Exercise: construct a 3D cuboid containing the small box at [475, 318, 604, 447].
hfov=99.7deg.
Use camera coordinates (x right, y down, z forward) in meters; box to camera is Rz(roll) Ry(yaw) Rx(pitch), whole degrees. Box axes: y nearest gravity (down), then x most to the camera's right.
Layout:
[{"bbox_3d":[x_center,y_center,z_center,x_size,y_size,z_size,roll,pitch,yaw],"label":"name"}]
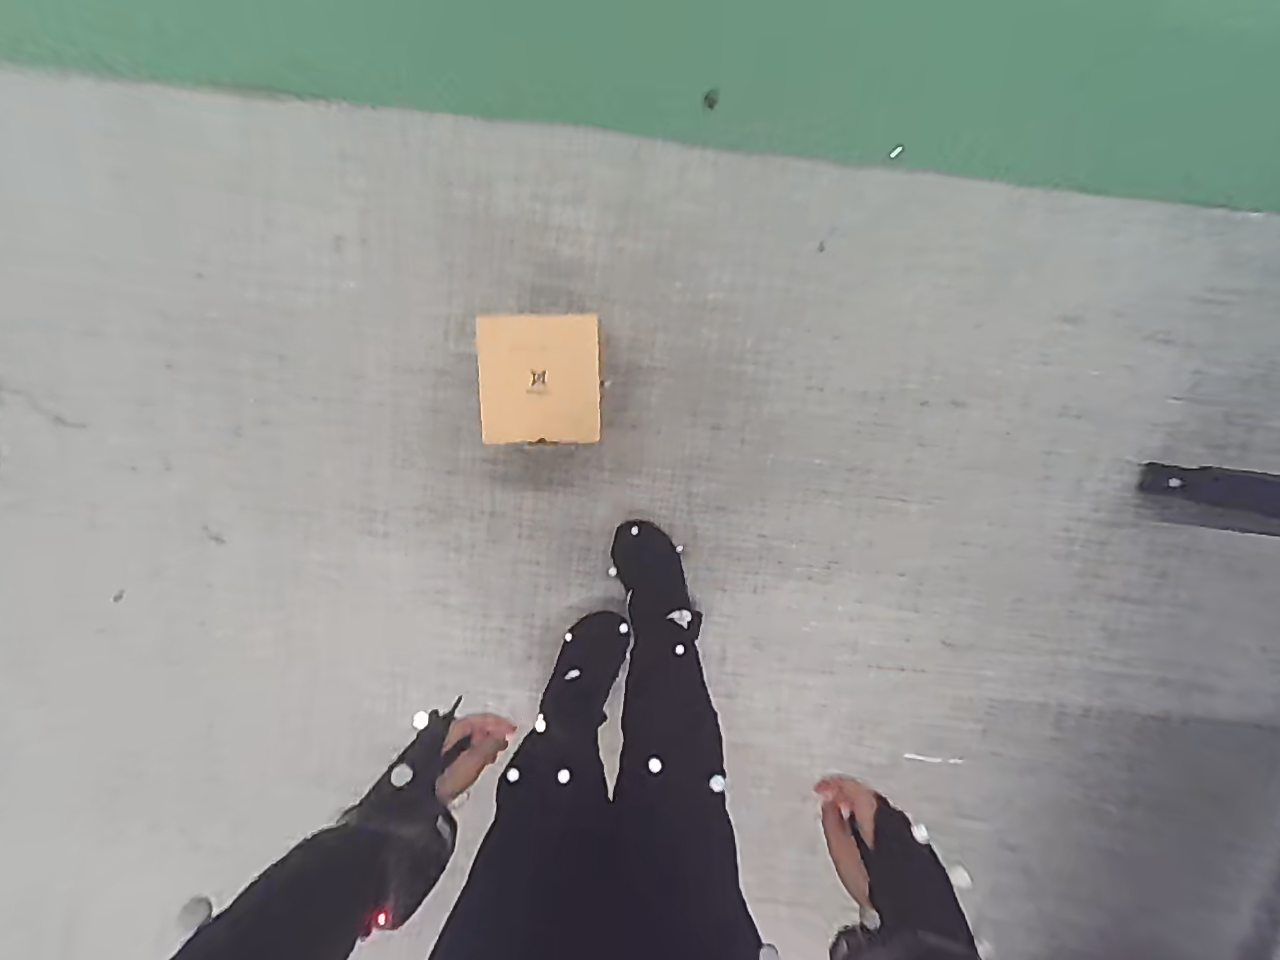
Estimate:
[{"bbox_3d":[-0.143,-0.146,0.823,0.168,0.176,0.179,-1,98,-1],"label":"small box"}]
